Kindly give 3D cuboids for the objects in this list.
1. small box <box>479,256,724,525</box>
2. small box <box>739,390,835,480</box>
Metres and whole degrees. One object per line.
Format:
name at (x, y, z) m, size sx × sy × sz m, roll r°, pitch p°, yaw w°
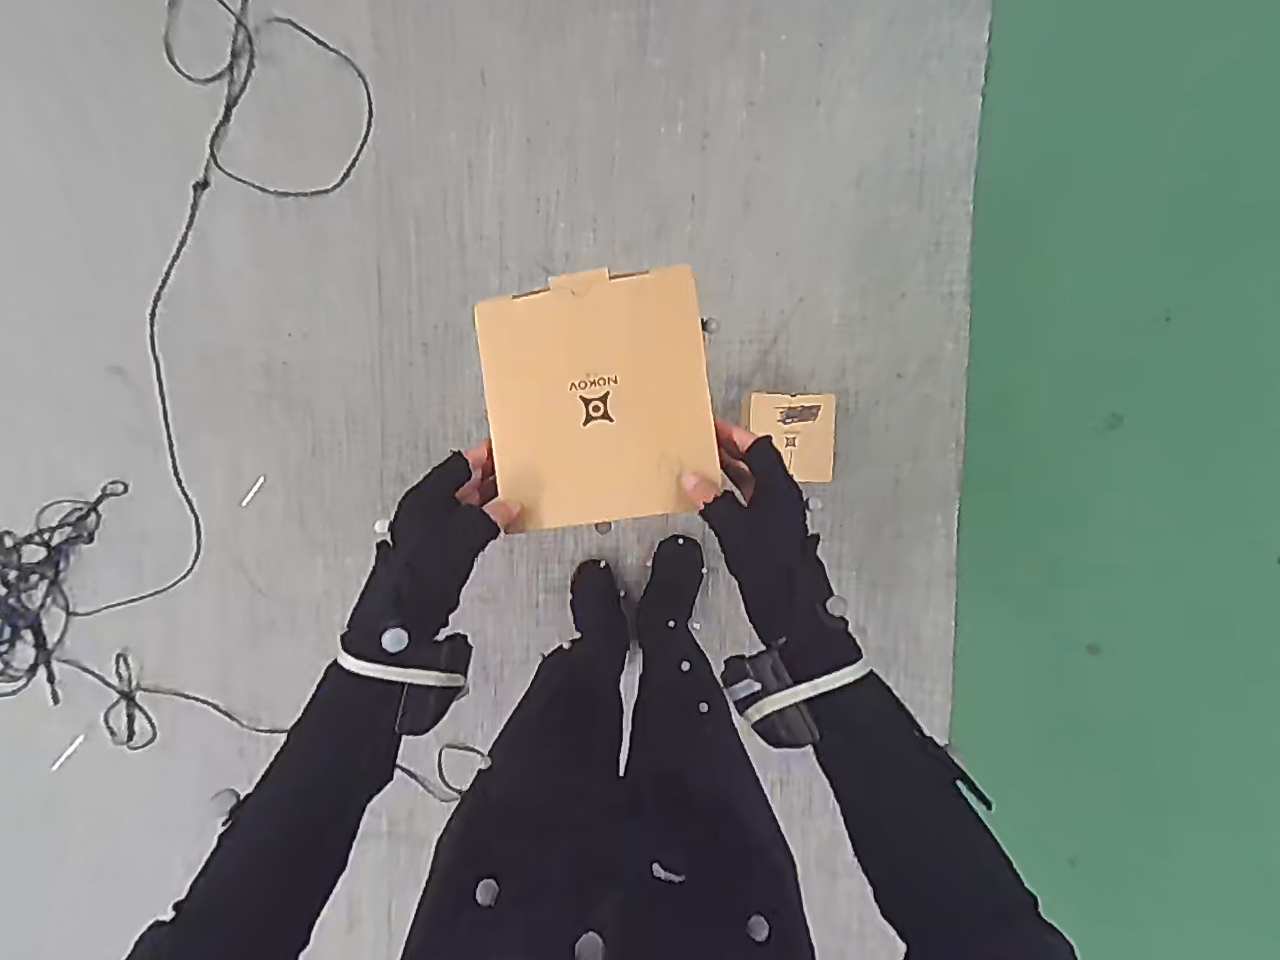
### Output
small box at (-0.019, -0.065, 0.471) m, size 0.168 × 0.176 × 0.179 m, roll -8°, pitch 90°, yaw 7°
small box at (0.300, -0.094, 1.138) m, size 0.168 × 0.176 × 0.179 m, roll 1°, pitch 95°, yaw 4°
